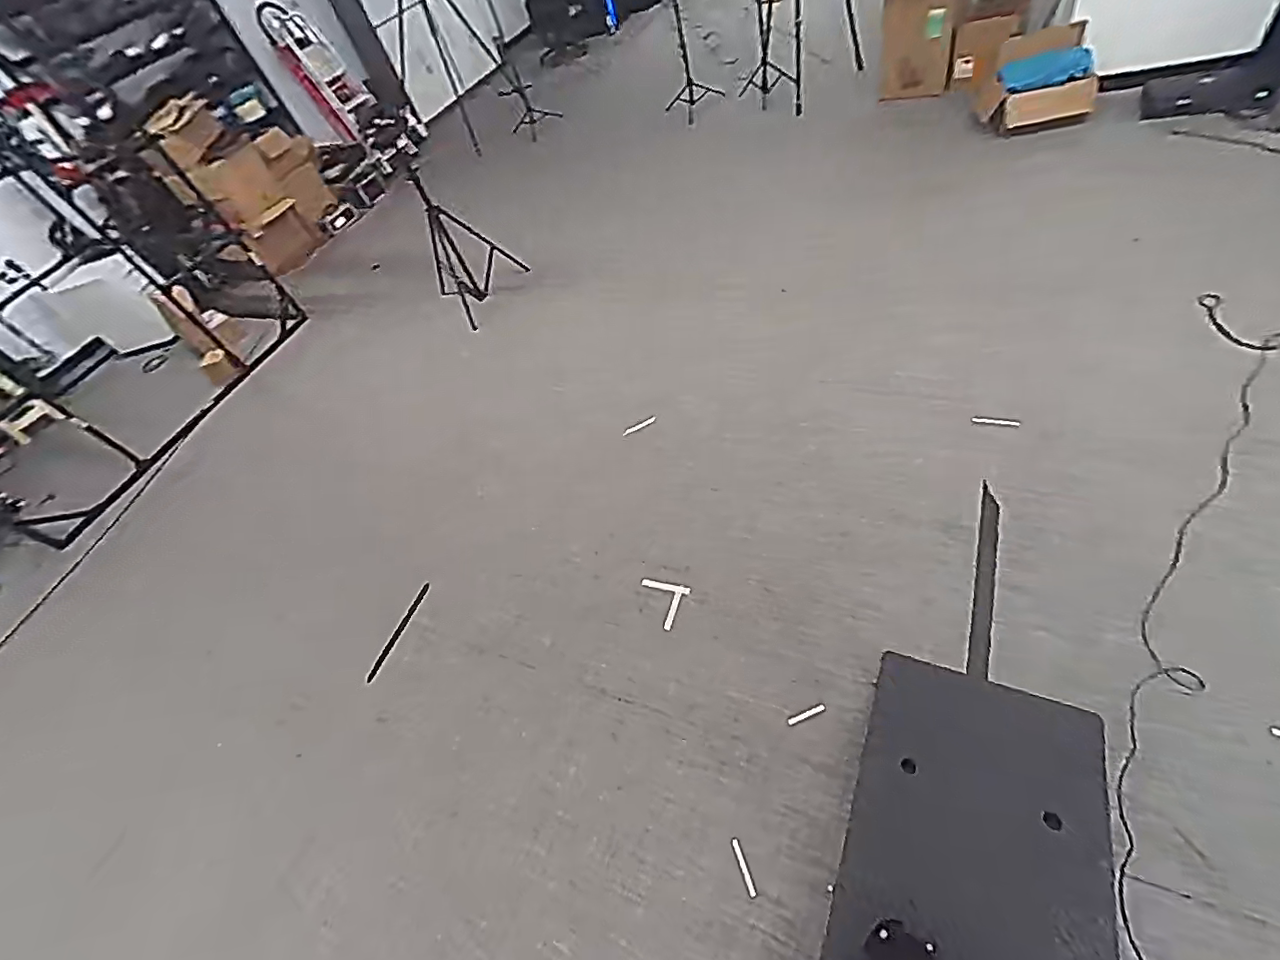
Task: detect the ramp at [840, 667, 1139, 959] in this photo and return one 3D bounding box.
[{"bbox_3d":[0.695,0.875,1.096,0.509,0.206,0.991,7,54,27],"label":"ramp"}]
